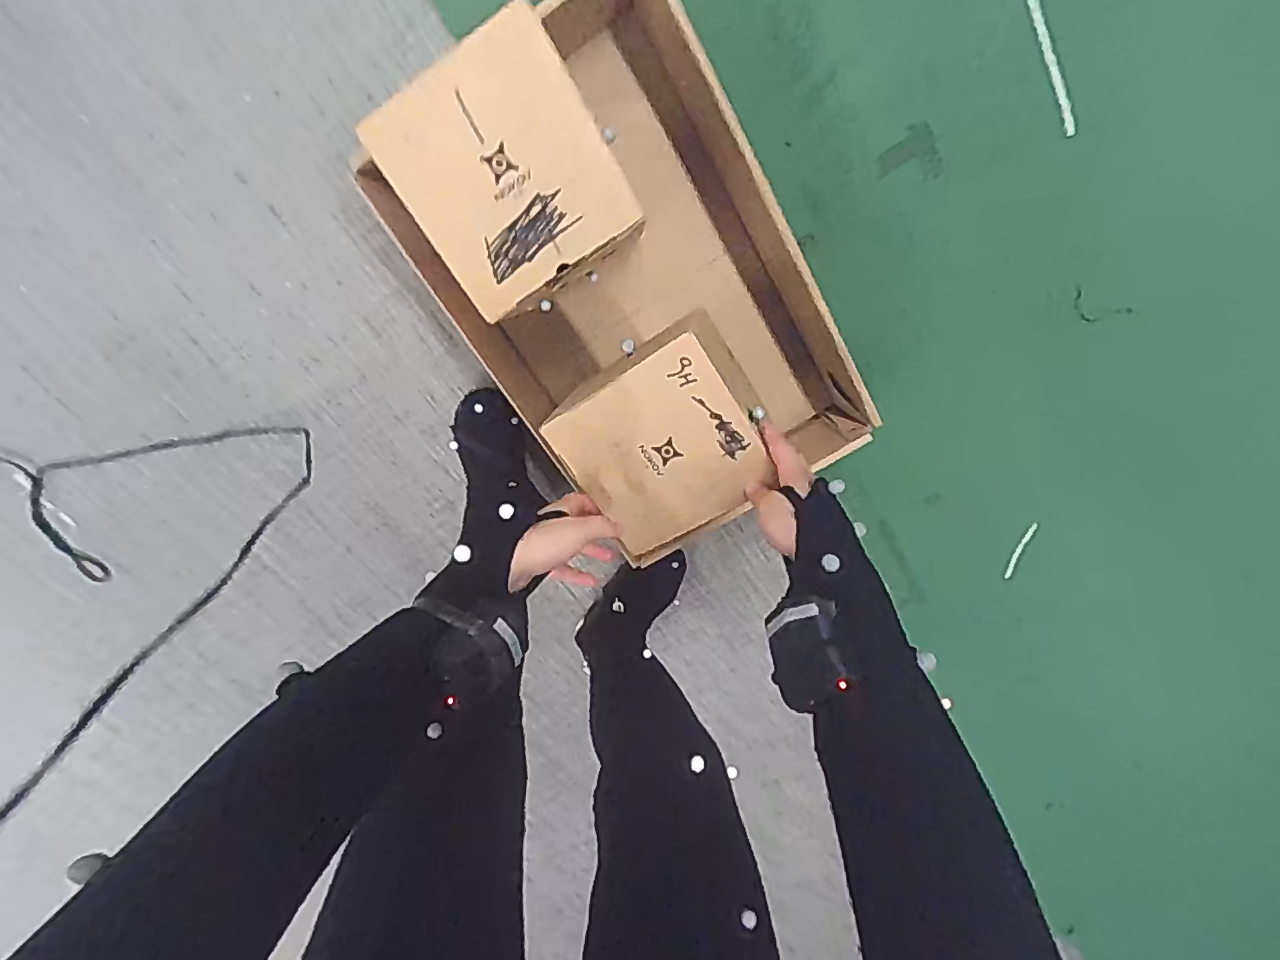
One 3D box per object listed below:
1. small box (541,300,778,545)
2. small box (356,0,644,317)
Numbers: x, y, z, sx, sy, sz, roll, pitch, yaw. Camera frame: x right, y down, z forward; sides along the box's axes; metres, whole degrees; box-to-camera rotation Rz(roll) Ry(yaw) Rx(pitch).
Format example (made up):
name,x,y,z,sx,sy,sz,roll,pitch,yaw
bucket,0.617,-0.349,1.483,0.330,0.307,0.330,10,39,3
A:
name,x,y,z,sx,sy,sz,roll,pitch,yaw
small box,0.031,-0.066,0.578,0.179,0.176,0.168,-29,109,23
small box,-0.109,-0.277,0.503,0.168,0.176,0.179,-30,109,9
